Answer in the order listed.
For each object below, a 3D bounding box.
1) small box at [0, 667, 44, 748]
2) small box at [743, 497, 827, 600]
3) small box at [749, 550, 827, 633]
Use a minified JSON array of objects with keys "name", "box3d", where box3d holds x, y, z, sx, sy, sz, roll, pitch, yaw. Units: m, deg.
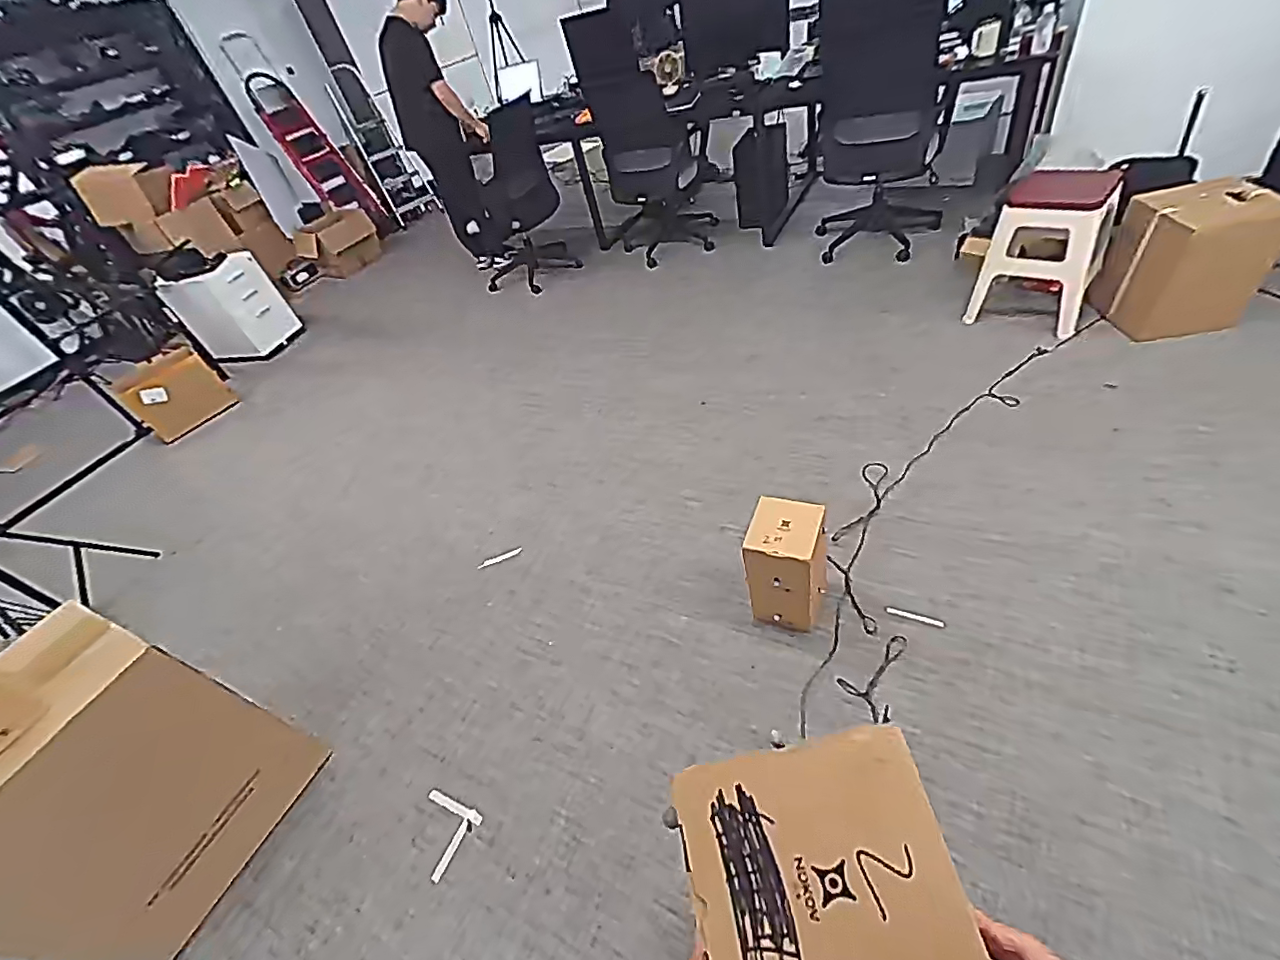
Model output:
[{"name":"small box","box3d":[-1.272,0.427,0.990,0.179,0.176,0.168,11,50,28]},{"name":"small box","box3d":[0.374,0.173,1.378,0.168,0.176,0.179,9,49,27]},{"name":"small box","box3d":[0.411,0.288,1.490,0.168,0.176,0.179,11,51,28]}]
